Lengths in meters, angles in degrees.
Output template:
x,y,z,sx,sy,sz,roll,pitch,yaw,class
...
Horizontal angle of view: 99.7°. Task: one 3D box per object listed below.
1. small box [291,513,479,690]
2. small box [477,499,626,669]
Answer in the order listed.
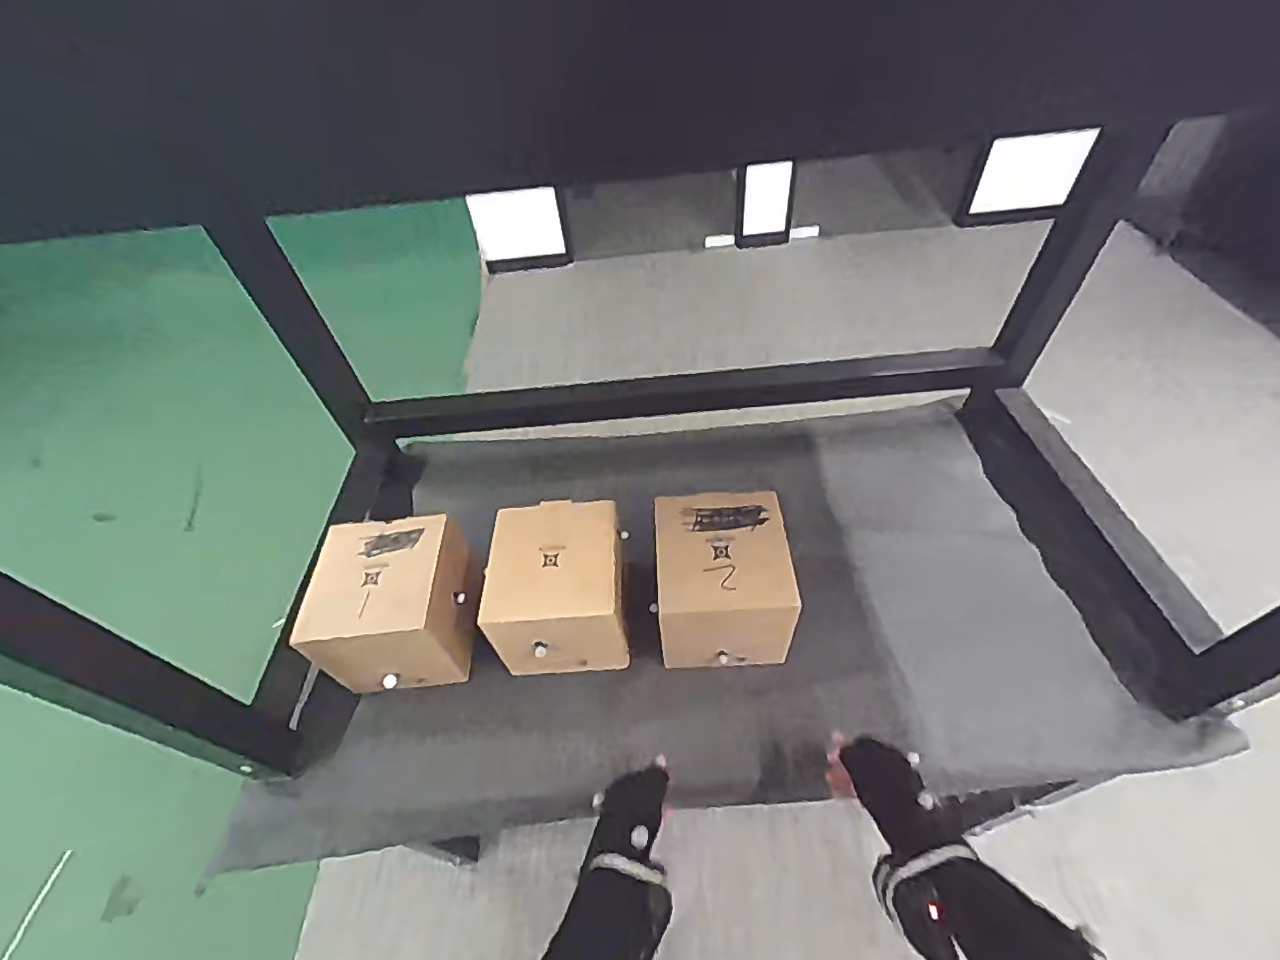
x,y,z,sx,sy,sz,roll,pitch,yaw,class
-0.334,0.170,0.754,0.168,0.176,0.179,-6,48,1,small box
-0.108,0.150,0.751,0.168,0.176,0.179,-4,48,2,small box
